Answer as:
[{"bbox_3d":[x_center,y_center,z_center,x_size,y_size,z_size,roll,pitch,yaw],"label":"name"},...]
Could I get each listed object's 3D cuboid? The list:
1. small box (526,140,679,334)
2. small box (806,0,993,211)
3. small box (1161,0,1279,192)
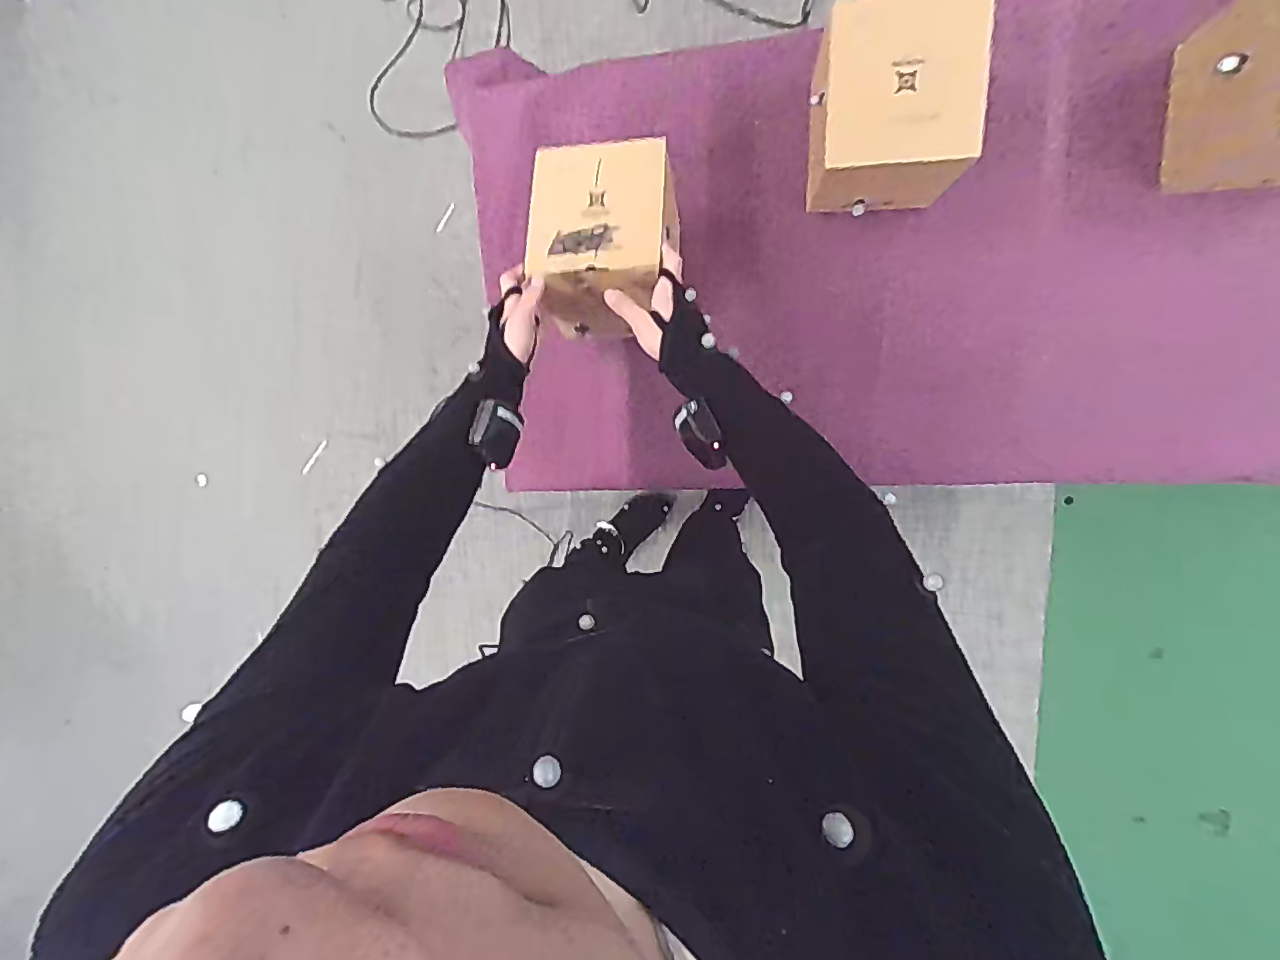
[{"bbox_3d":[-0.038,-0.306,0.719,0.168,0.176,0.179,1,78,10],"label":"small box"},{"bbox_3d":[0.303,-0.455,0.669,0.168,0.176,0.179,2,100,10],"label":"small box"},{"bbox_3d":[0.734,-0.446,0.596,0.168,0.176,0.179,0,98,10],"label":"small box"}]
